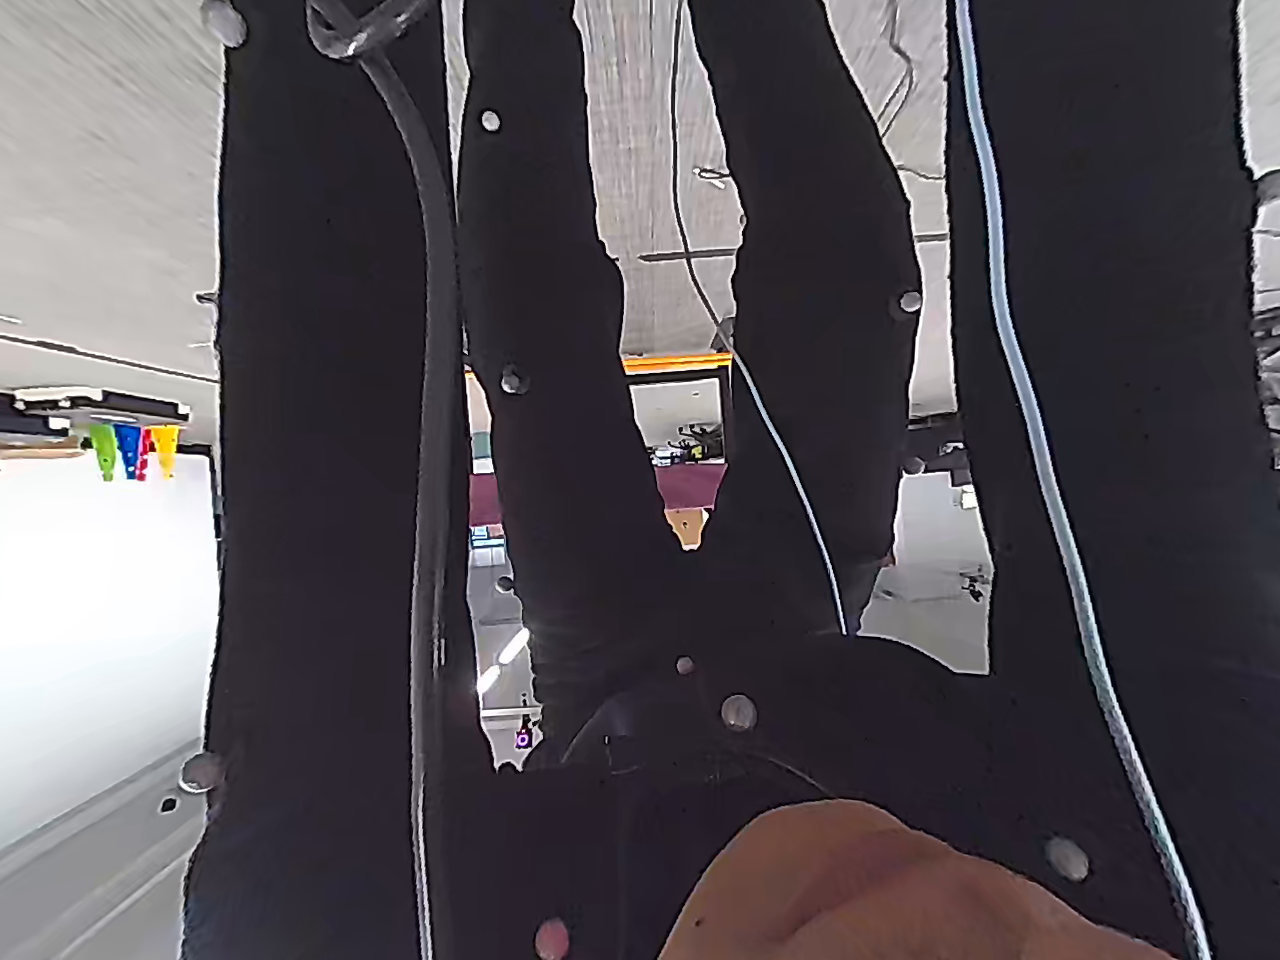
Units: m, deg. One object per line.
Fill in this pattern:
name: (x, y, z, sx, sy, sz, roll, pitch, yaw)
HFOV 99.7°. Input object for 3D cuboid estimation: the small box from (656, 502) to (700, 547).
small box: (0.159, 0.189, 2.333, 0.168, 0.176, 0.179, -4, 180, -3)
